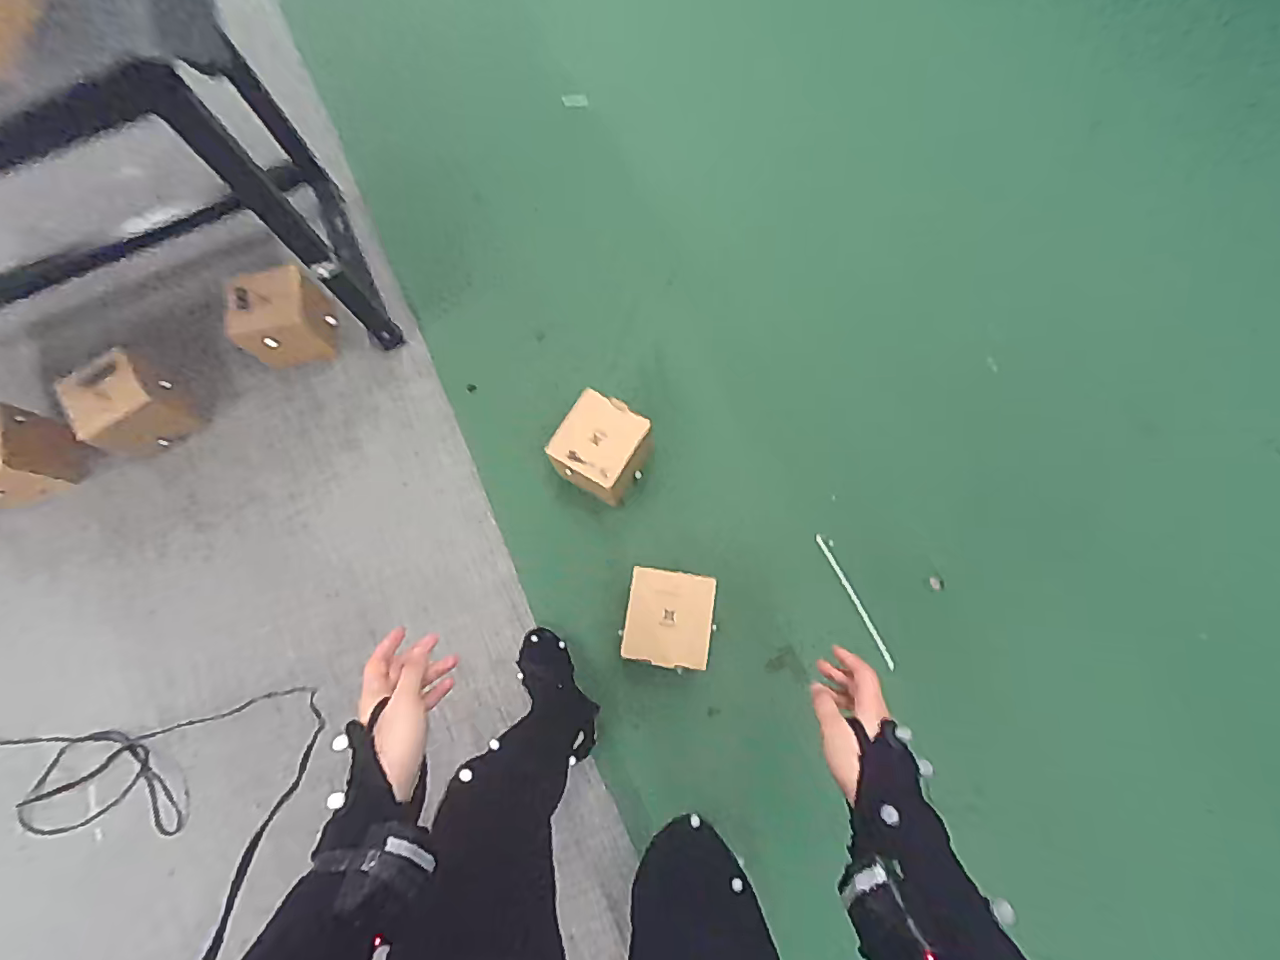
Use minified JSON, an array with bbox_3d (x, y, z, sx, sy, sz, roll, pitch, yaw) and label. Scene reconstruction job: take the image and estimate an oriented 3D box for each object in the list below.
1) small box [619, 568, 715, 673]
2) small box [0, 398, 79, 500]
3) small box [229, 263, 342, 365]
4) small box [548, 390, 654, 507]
[{"bbox_3d":[0.056,0.290,1.112,0.168,0.176,0.179,8,73,4],"label":"small box"},{"bbox_3d":[-1.495,-0.064,1.282,0.168,0.176,0.179,-22,74,-3],"label":"small box"},{"bbox_3d":[-0.881,-0.407,1.353,0.179,0.176,0.168,-13,74,-3],"label":"small box"},{"bbox_3d":[-0.083,-0.066,1.222,0.168,0.176,0.179,31,77,11],"label":"small box"}]
